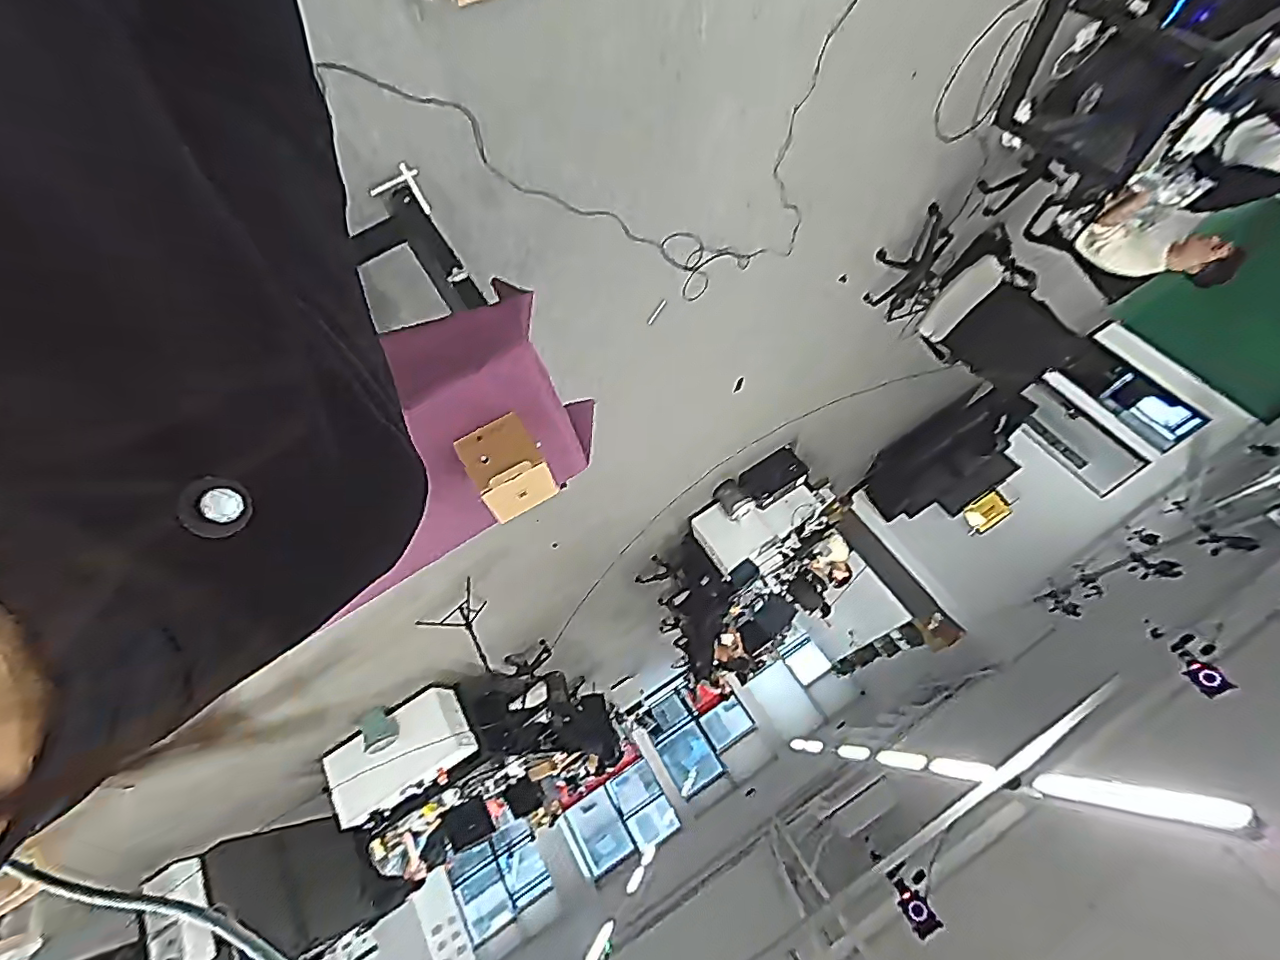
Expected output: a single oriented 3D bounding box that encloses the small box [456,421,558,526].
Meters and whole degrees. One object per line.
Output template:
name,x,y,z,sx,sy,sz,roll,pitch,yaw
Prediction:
small box,-0.327,-0.022,1.332,0.168,0.176,0.179,-30,155,-12
